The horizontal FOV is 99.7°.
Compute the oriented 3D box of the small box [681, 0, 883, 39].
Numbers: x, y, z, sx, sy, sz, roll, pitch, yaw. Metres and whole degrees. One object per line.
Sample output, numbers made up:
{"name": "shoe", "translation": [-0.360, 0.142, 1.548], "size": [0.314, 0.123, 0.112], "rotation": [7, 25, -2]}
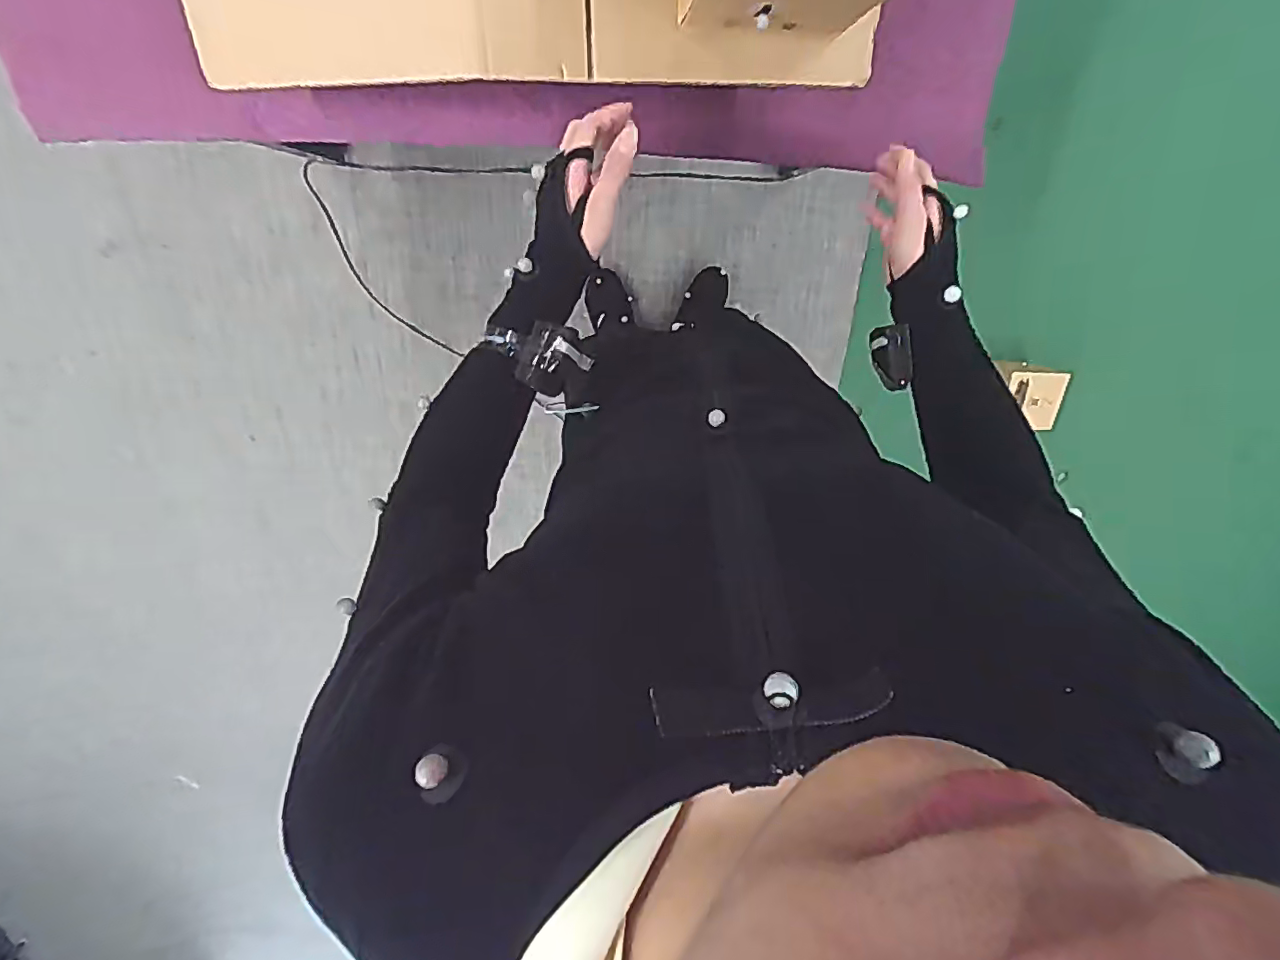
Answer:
{"name": "small box", "translation": [0.128, -0.486, 0.426], "size": [0.168, 0.176, 0.179], "rotation": [-3, 115, -6]}
